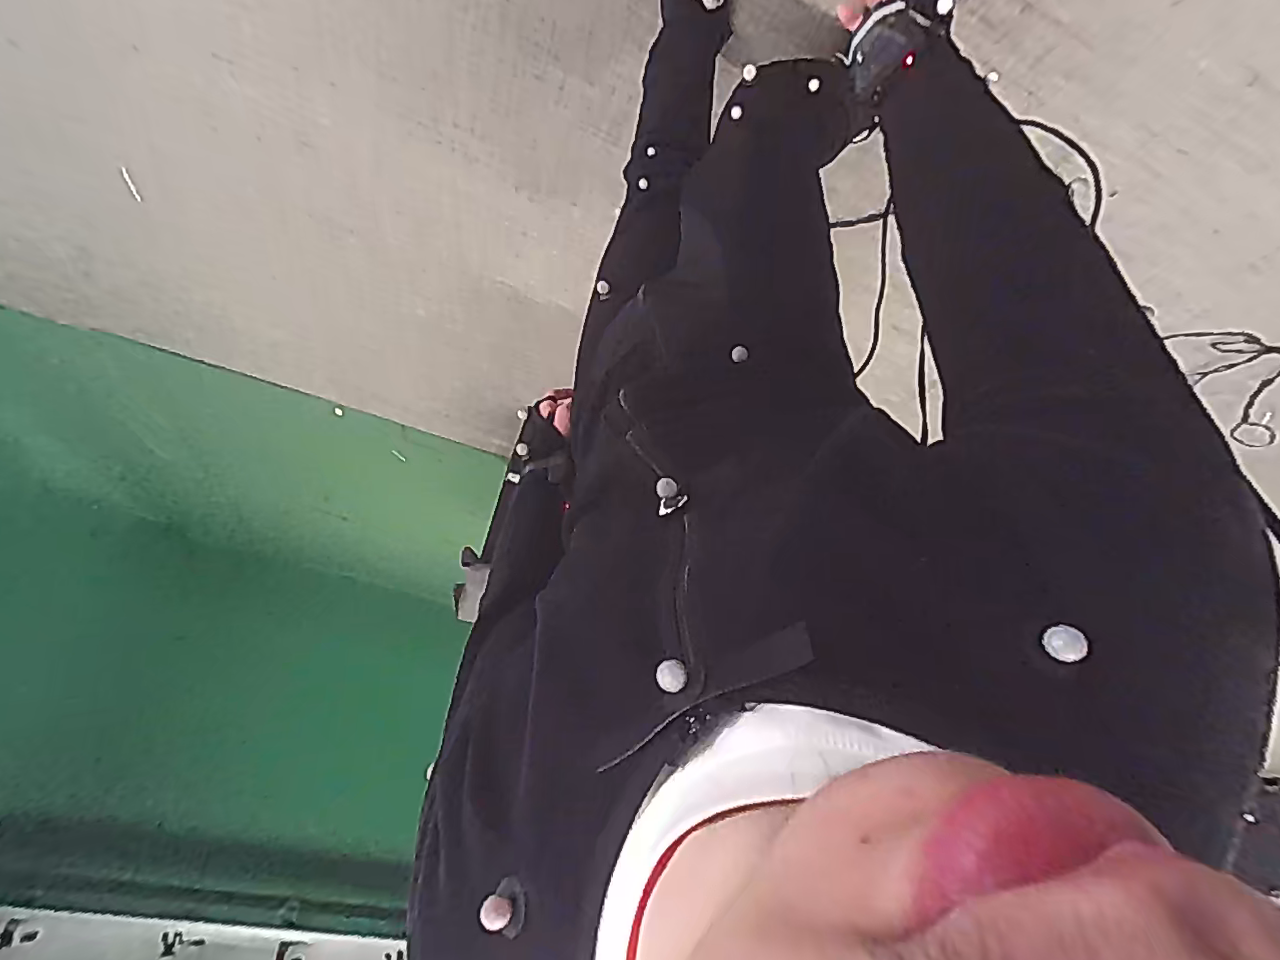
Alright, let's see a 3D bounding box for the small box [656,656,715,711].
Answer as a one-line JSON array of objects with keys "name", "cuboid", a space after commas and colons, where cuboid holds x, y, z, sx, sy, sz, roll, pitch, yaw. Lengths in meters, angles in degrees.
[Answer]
[{"name": "small box", "cuboid": [0.183, 0.800, 2.126, 0.168, 0.176, 0.179, 21, 150, -16]}]
